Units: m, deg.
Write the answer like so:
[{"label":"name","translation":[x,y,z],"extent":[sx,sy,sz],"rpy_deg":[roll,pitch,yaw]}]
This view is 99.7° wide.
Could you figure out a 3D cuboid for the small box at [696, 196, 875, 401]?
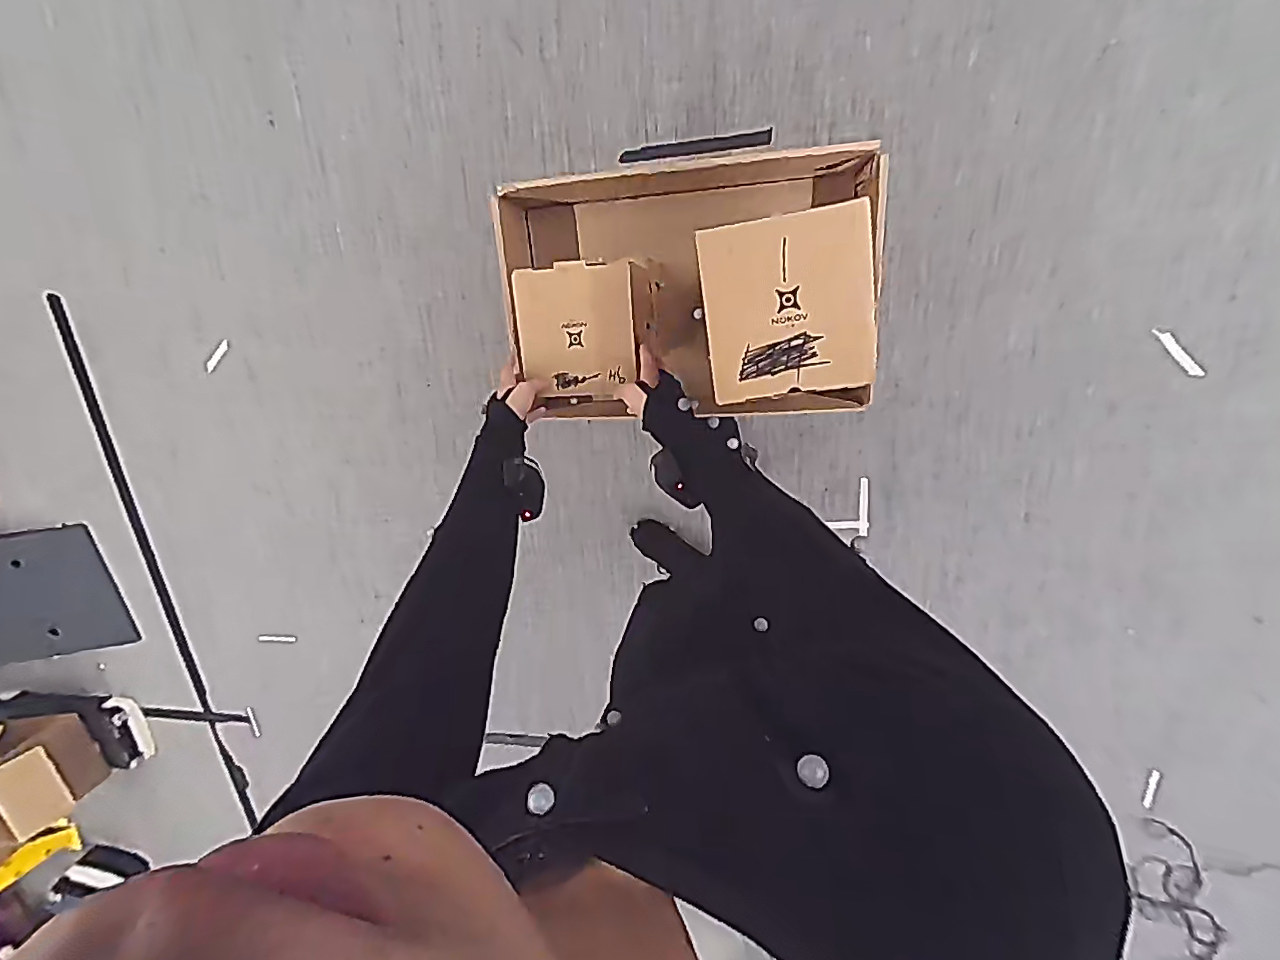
[{"label":"small box","translation":[0.159,-0.199,0.613],"extent":[0.168,0.176,0.179],"rpy_deg":[-7,106,11]}]

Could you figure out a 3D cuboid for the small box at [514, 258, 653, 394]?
[{"label":"small box","translation":[-0.074,-0.227,0.816],"extent":[0.168,0.176,0.179],"rpy_deg":[0,106,11]}]
